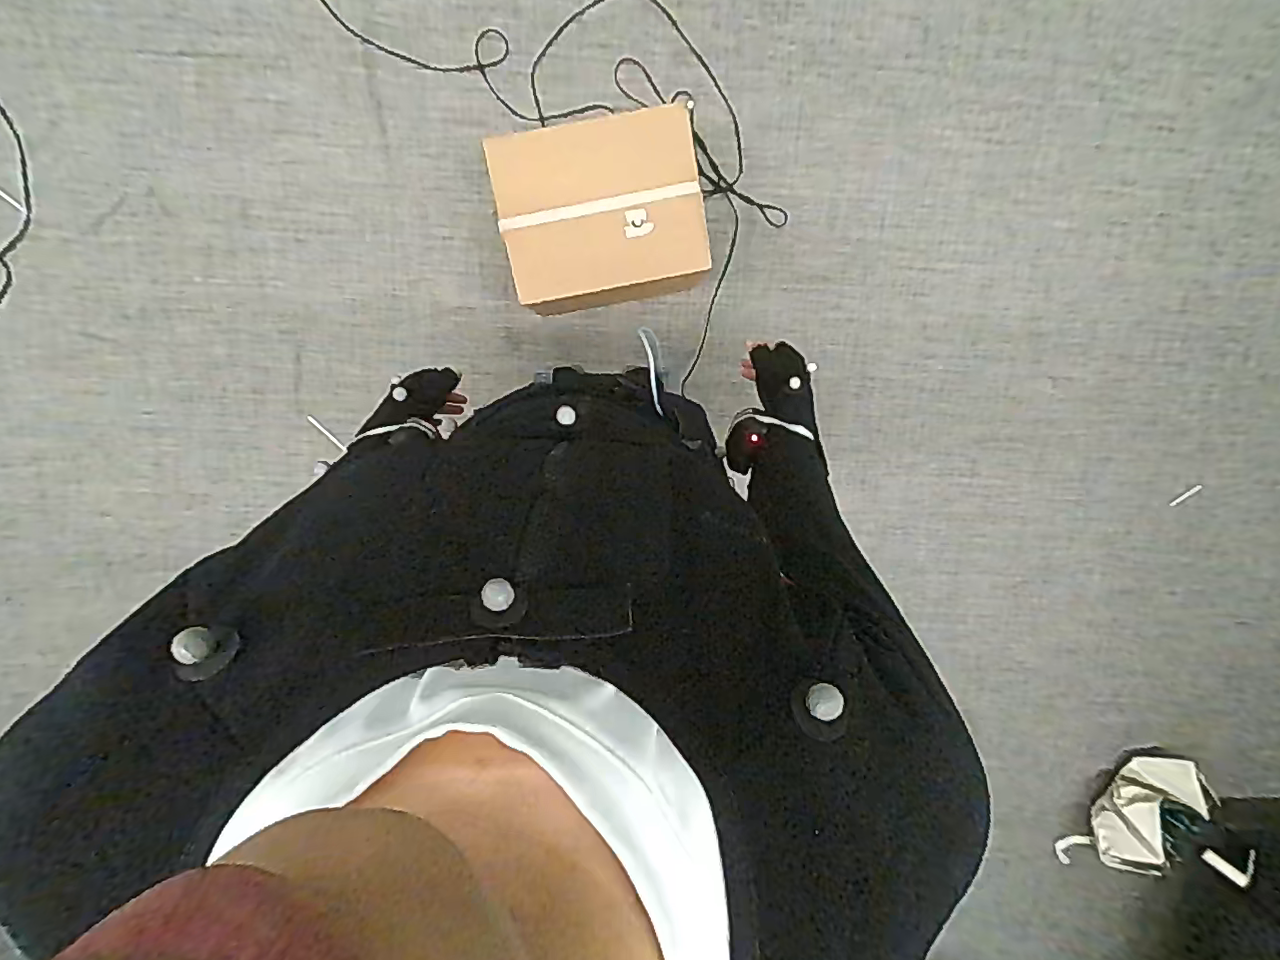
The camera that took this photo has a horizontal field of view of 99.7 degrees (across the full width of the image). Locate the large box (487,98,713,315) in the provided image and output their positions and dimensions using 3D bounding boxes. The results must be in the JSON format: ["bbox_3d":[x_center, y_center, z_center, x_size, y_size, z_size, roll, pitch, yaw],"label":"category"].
[{"bbox_3d":[-0.081,-0.581,1.217,0.408,0.320,0.320,-11,103,-1],"label":"large box"}]
